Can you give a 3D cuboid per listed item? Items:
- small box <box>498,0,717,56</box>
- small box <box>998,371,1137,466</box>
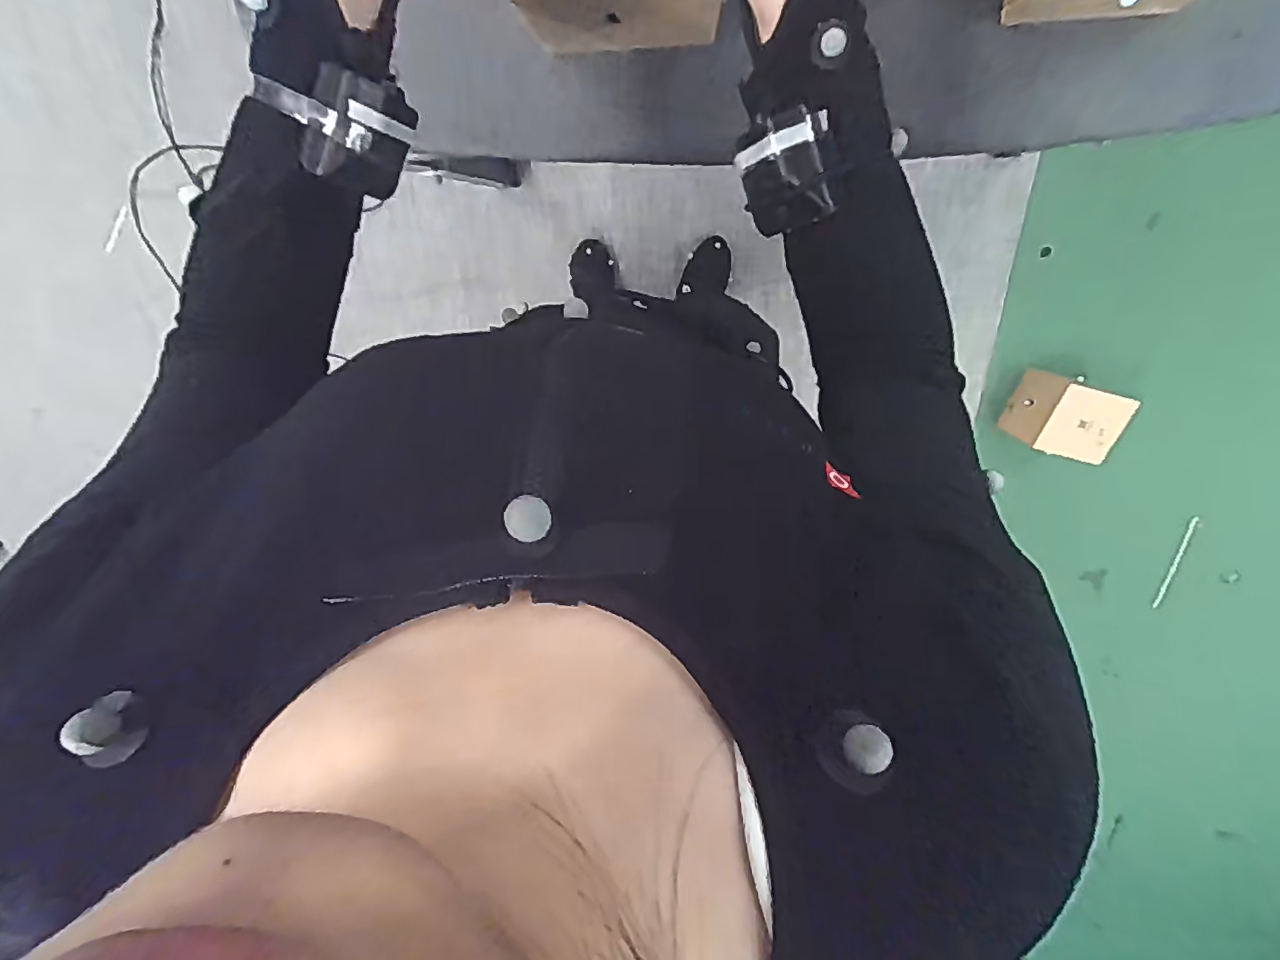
[{"bbox_3d":[-0.022,-0.478,0.450,0.179,0.176,0.168,0,115,5],"label":"small box"},{"bbox_3d":[1.037,-0.158,1.333,0.179,0.176,0.168,14,116,-3],"label":"small box"}]
